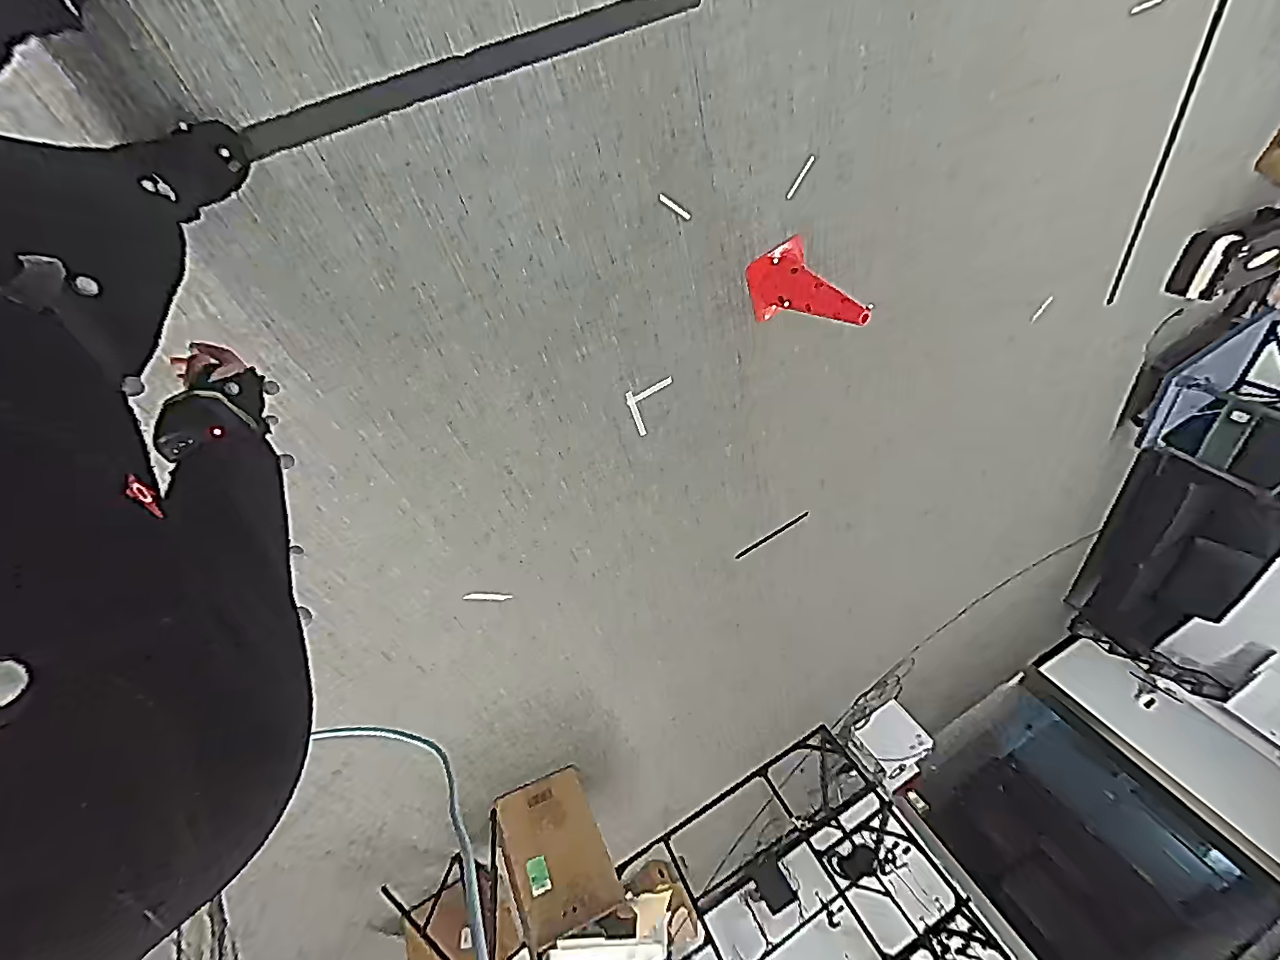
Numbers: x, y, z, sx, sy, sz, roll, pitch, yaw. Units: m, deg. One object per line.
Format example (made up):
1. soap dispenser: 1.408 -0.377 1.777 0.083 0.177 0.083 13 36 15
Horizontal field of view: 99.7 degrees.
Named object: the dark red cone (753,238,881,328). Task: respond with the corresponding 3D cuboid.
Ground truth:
1. dark red cone: 0.500 -0.498 1.480 0.202 0.394 0.201 -34 133 -6
